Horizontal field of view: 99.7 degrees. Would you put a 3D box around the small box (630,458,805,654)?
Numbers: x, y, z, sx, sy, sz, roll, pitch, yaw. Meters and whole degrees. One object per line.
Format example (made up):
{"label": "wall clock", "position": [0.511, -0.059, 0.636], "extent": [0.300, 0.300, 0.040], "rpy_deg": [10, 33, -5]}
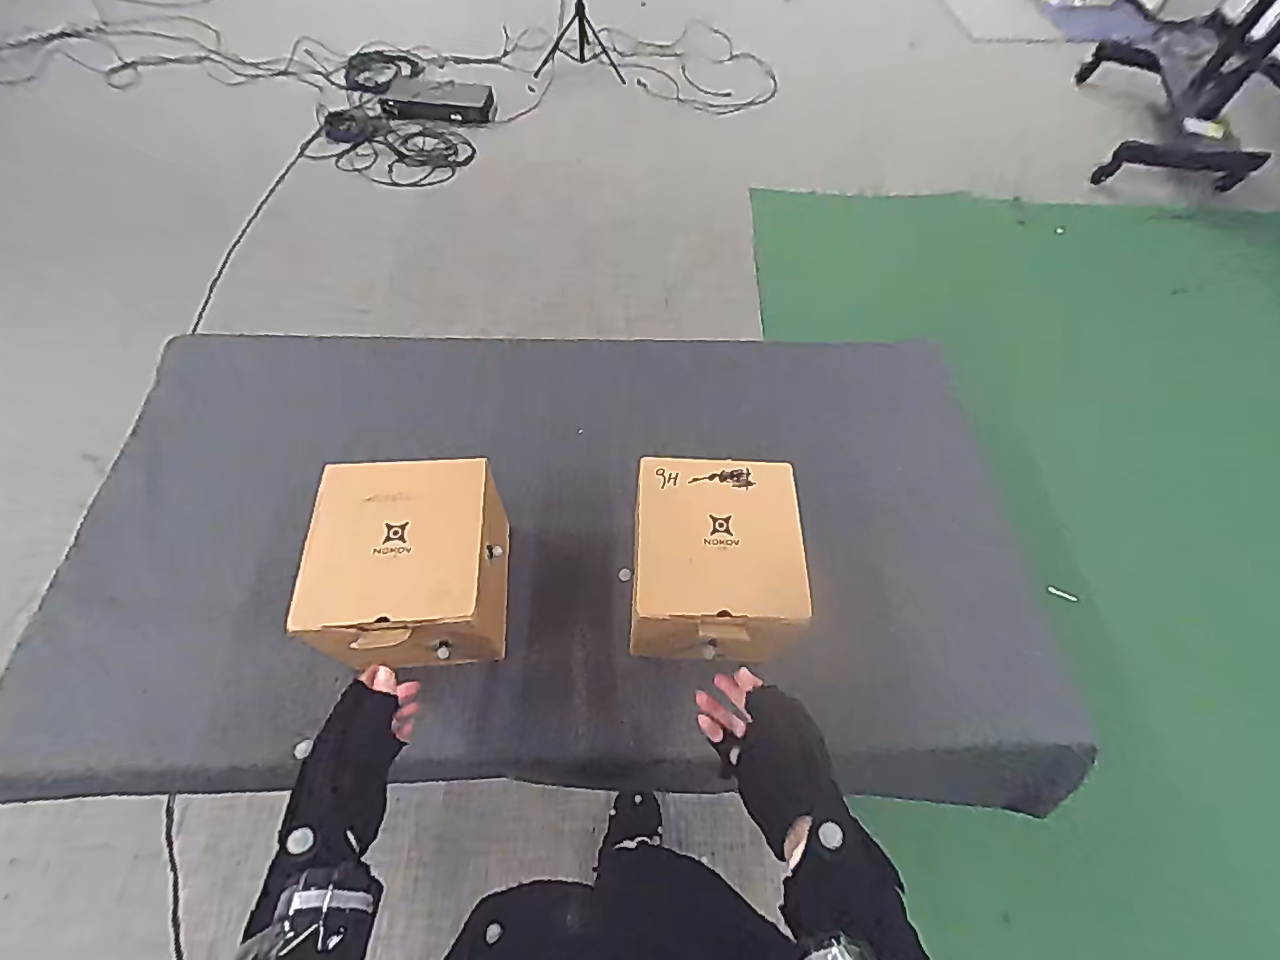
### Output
{"label": "small box", "position": [0.076, 0.095, 0.619], "extent": [0.168, 0.176, 0.179], "rpy_deg": [3, 61, -2]}

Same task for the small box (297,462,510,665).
{"label": "small box", "position": [-0.240, 0.099, 0.601], "extent": [0.168, 0.176, 0.179], "rpy_deg": [-3, 58, -7]}
